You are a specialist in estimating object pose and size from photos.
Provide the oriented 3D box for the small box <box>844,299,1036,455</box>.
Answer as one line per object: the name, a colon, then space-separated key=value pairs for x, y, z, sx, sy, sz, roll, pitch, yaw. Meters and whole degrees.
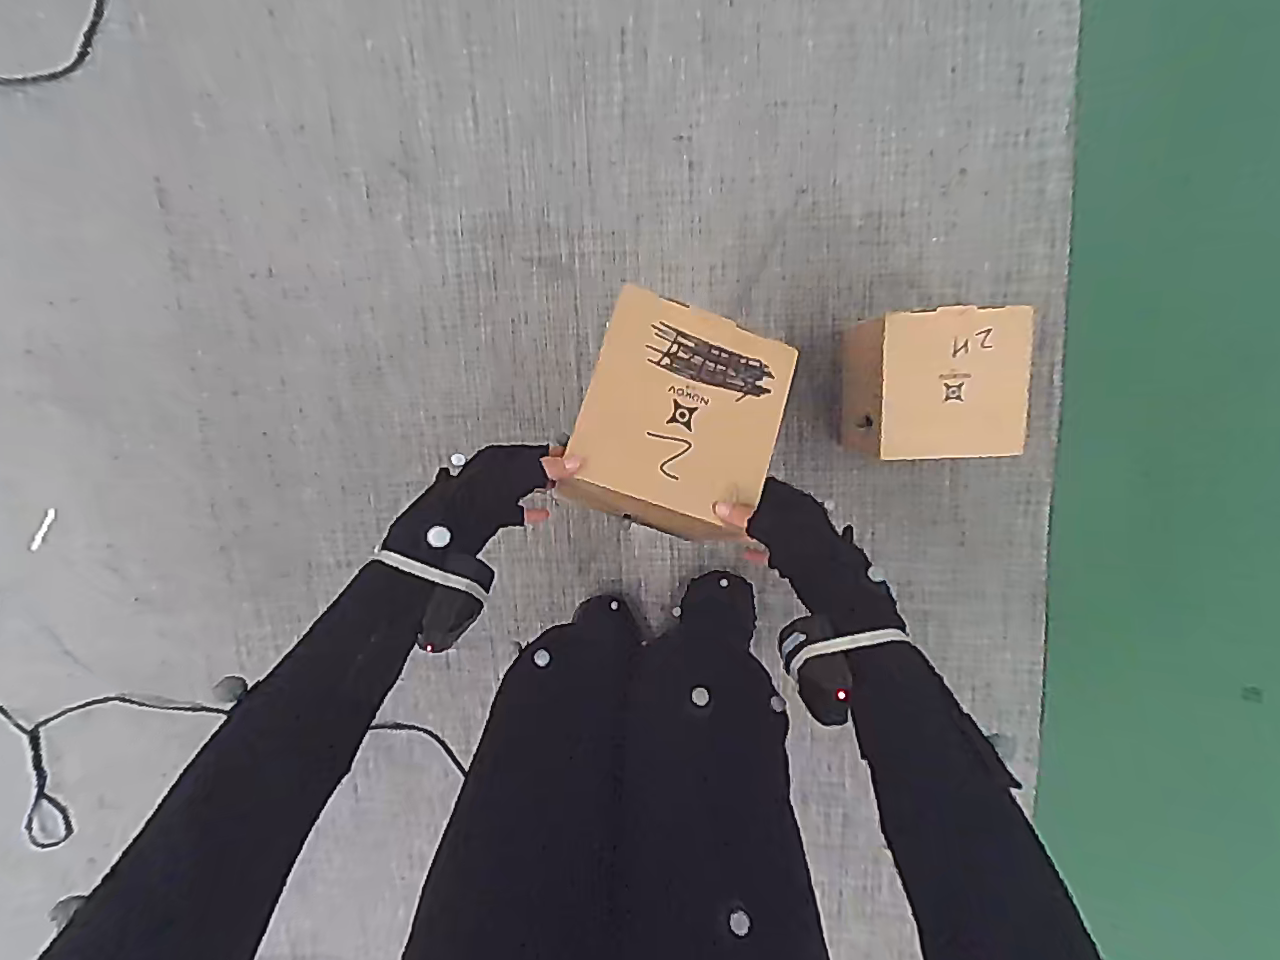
small box: x=0.374 y=-0.130 z=0.707 sx=0.168 sy=0.176 sz=0.179 roll=-2 pitch=99 yaw=5
